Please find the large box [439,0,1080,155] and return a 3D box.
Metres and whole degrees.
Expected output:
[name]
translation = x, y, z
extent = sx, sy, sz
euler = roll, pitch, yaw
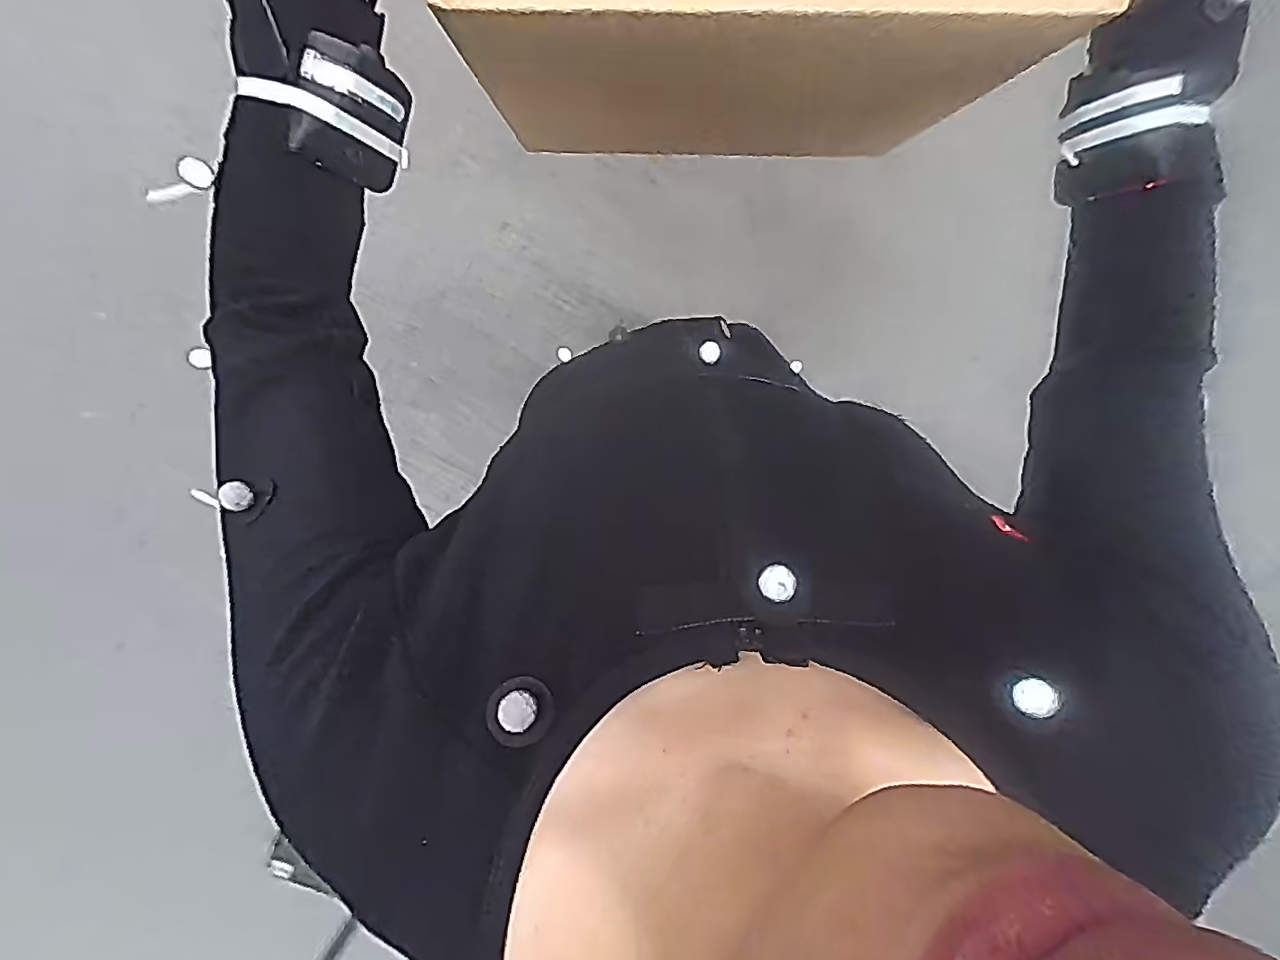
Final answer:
[large box]
translation = 0.067, -0.472, 0.420
extent = 0.408, 0.320, 0.320
euler = -2, 108, -2
